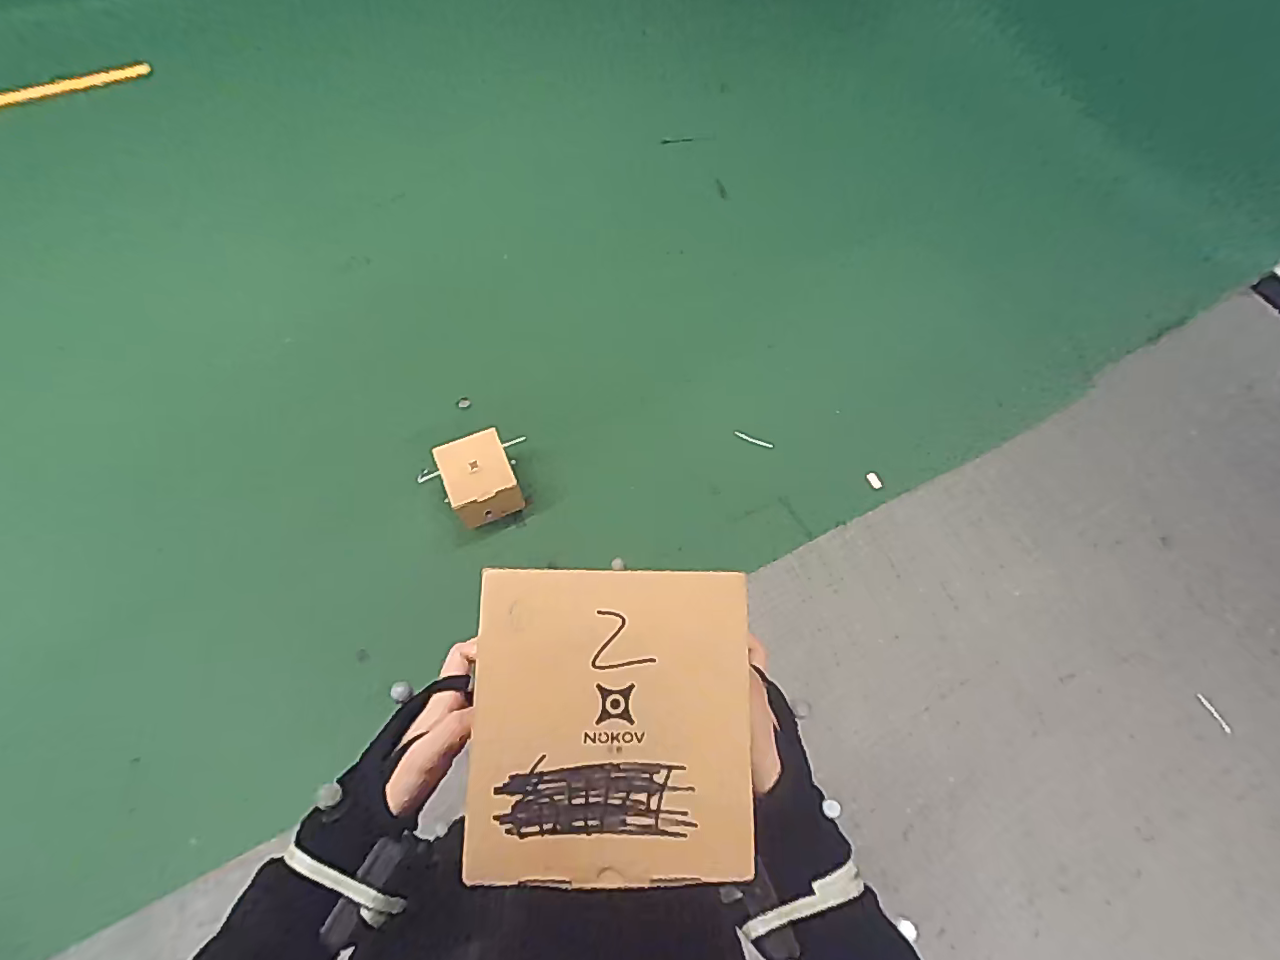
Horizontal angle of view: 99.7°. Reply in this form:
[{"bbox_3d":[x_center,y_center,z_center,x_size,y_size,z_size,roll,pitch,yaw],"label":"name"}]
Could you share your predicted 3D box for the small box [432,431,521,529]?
[{"bbox_3d":[-0.424,0.003,1.420,0.168,0.176,0.179,-22,72,-14],"label":"small box"}]
